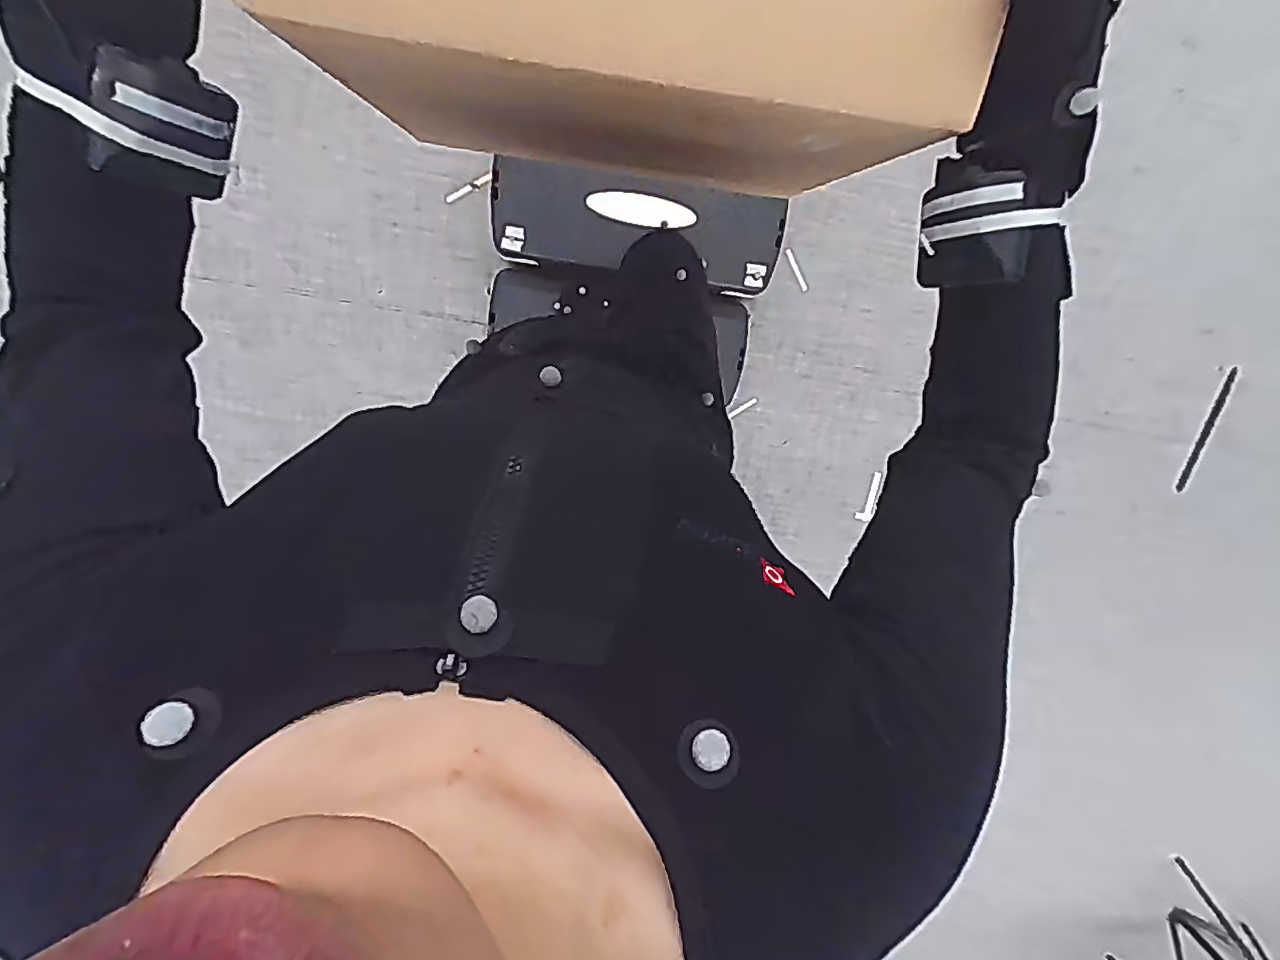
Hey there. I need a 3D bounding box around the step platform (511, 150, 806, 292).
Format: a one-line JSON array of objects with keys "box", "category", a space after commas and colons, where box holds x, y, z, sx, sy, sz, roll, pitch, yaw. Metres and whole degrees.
[{"box": [0.040, -0.644, 1.301, 0.684, 0.204, 0.286, 6, 108, -6], "category": "step platform"}]

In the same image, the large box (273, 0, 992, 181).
[{"box": [0.000, -0.430, 0.390, 0.408, 0.320, 0.320, 4, 112, -7], "category": "large box"}]
